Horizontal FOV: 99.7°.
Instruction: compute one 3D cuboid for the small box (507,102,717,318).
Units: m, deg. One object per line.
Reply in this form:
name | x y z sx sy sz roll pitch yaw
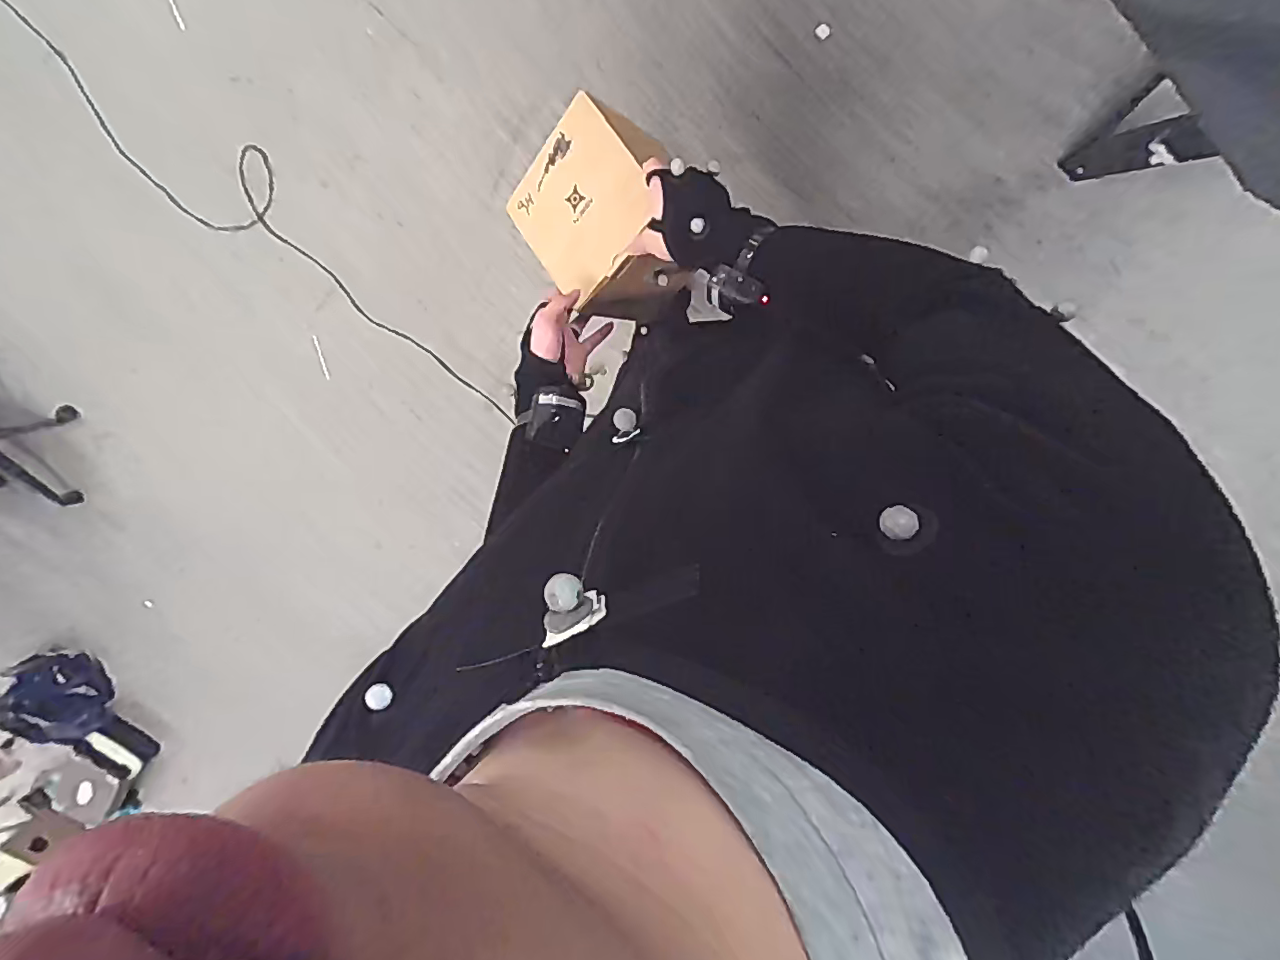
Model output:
small box | -0.030 -0.330 0.702 0.168 0.176 0.179 -39 78 33
